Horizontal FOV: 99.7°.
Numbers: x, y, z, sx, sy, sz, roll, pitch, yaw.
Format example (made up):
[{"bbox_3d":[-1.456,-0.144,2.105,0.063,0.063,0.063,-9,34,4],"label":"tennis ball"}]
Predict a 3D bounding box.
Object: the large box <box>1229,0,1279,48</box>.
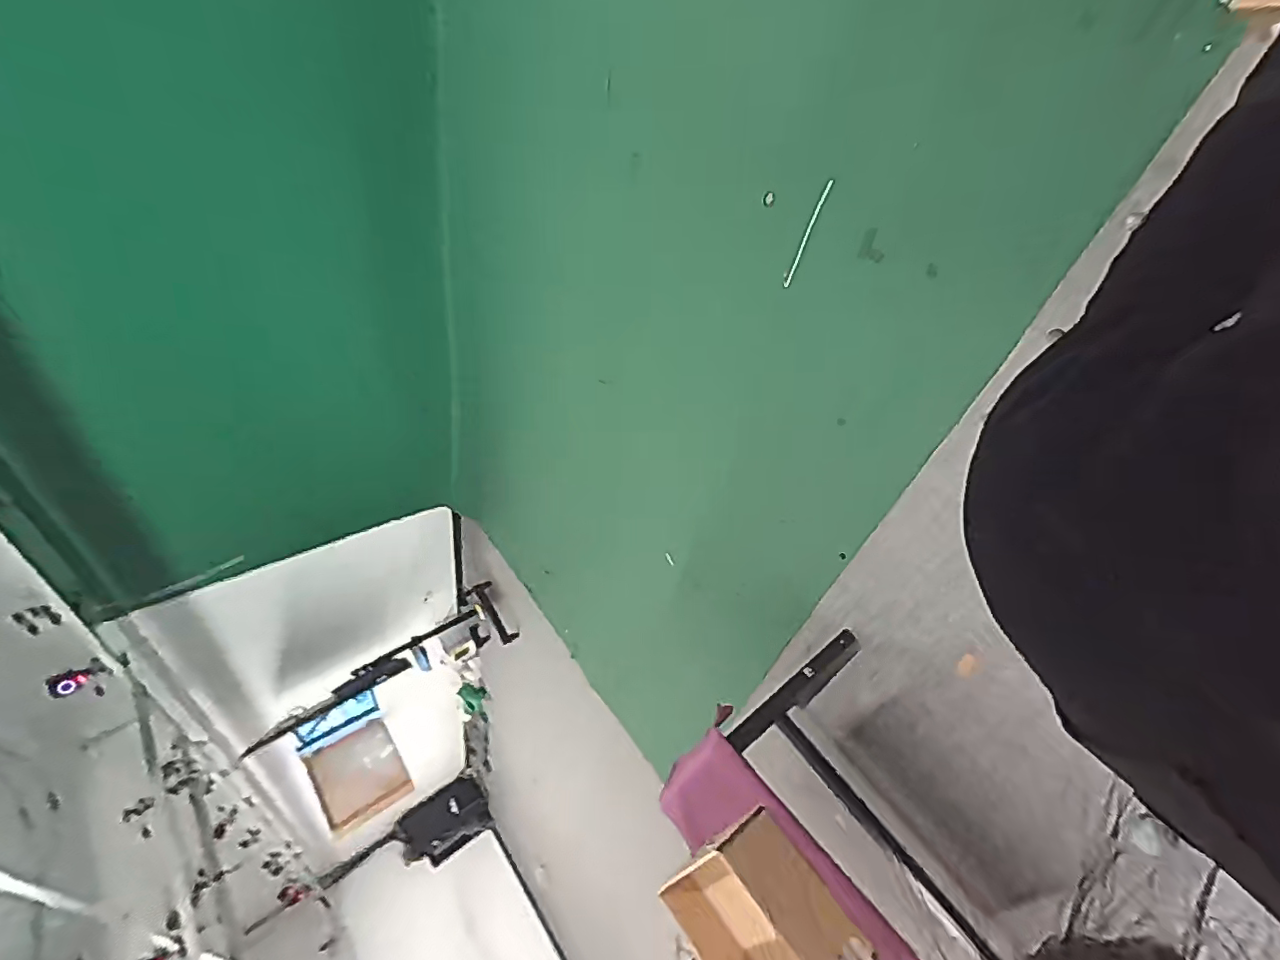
[{"bbox_3d":[1.064,-0.724,0.624,0.408,0.320,0.320,35,133,40],"label":"large box"}]
